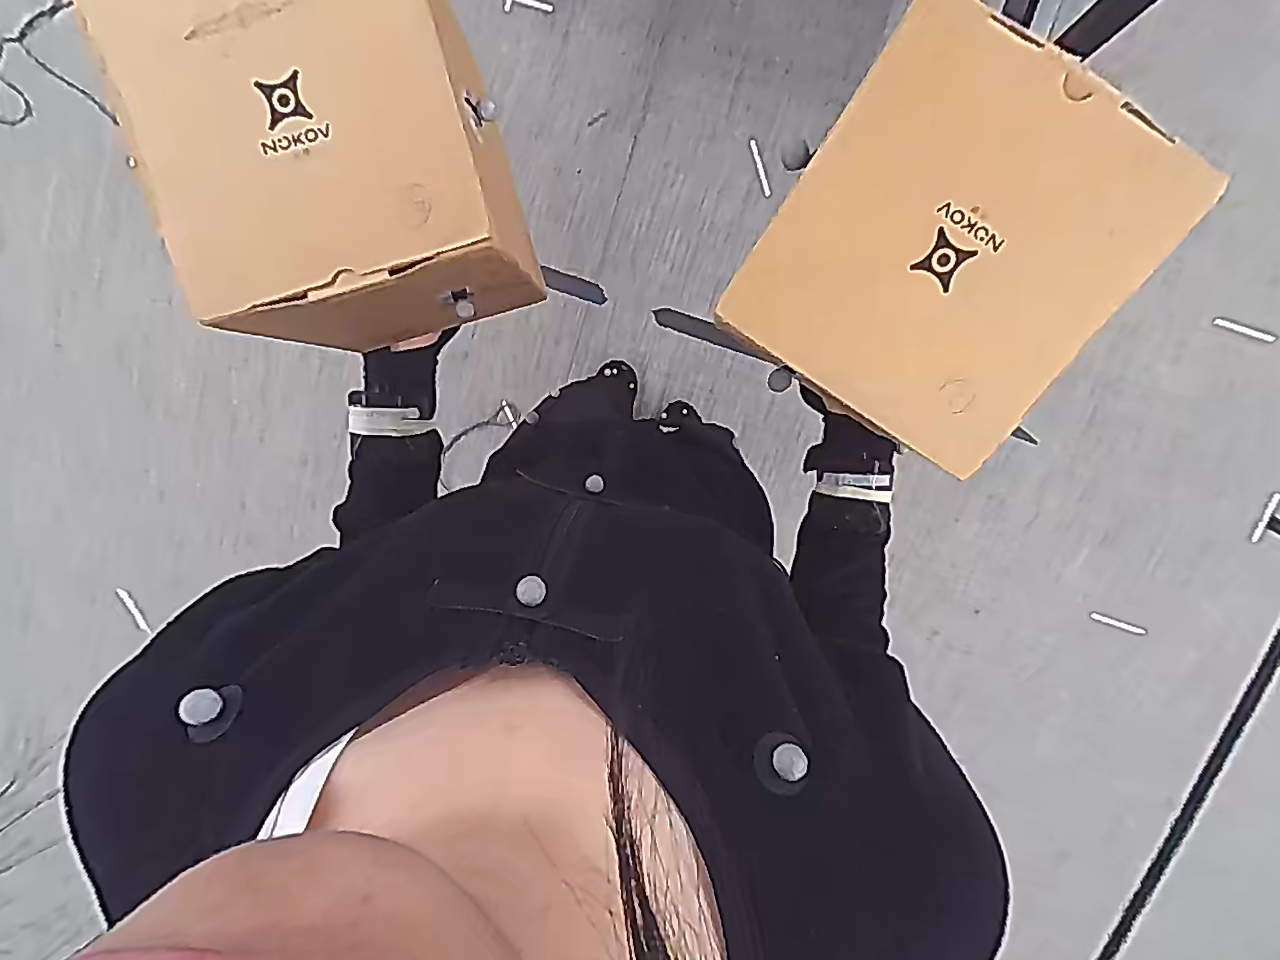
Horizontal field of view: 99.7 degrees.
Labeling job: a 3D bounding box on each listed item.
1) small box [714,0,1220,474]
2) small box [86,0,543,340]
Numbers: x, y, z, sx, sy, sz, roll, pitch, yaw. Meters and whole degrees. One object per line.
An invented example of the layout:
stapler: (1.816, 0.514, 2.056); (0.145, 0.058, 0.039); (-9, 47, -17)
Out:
small box: (0.164, -0.132, 0.344); (0.168, 0.176, 0.179); (34, 105, -1)
small box: (-0.172, -0.197, 0.349); (0.168, 0.176, 0.179); (-16, 97, 1)
